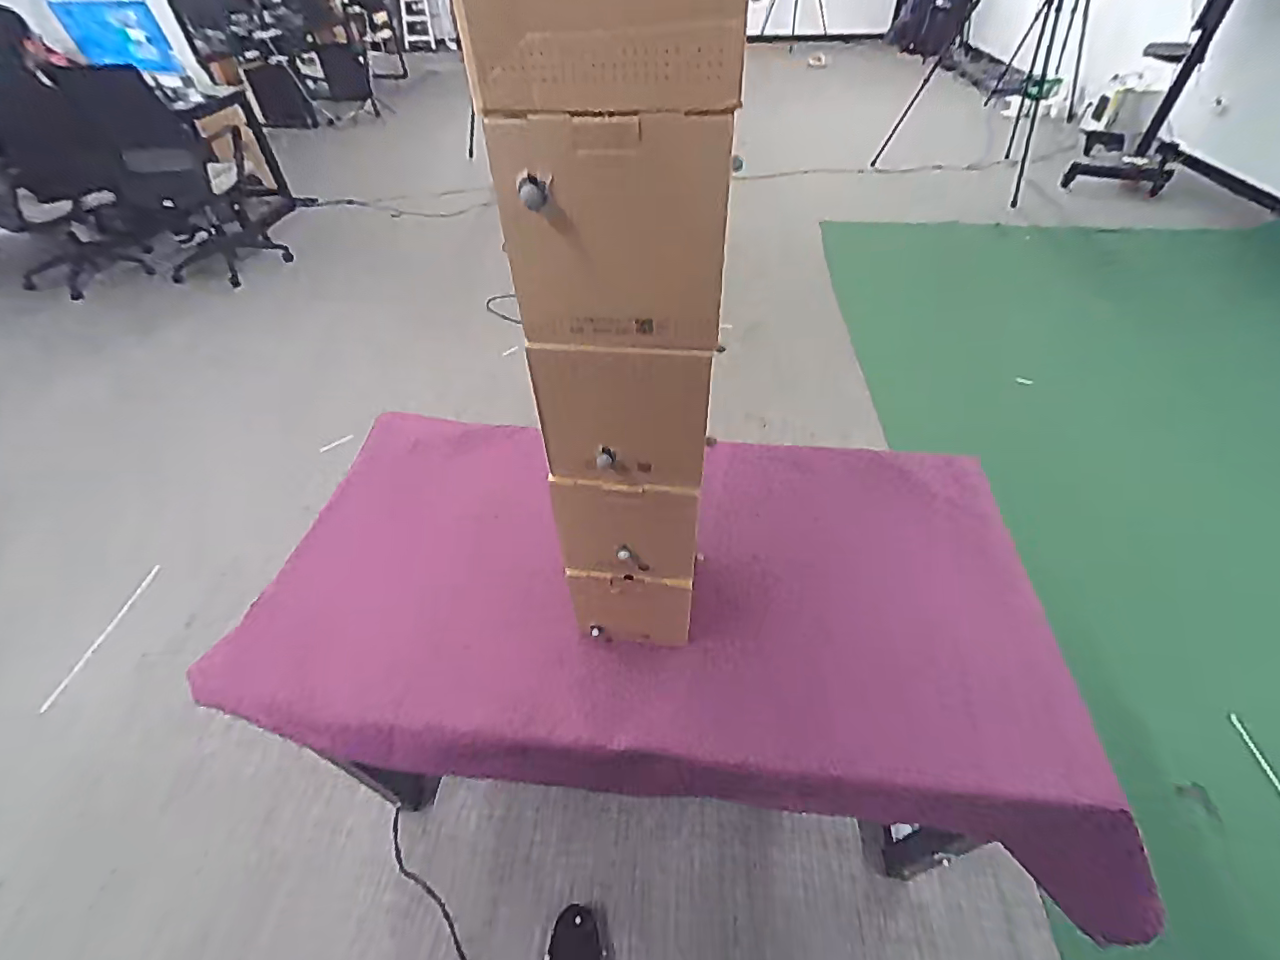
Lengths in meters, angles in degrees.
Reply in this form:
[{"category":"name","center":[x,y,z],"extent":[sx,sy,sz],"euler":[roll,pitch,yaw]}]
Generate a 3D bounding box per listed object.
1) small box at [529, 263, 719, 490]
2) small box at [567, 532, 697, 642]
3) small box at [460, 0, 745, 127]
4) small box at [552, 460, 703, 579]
[{"category":"small box","center":[-0.007,-0.113,0.585],"extent":[0.168,0.176,0.179],"euler":[4,46,6]},{"category":"small box","center":[-0.001,0.123,0.811],"extent":[0.168,0.176,0.179],"euler":[5,46,6]},{"category":"small box","center":[-0.018,-0.346,0.357],"extent":[0.179,0.176,0.168],"euler":[4,45,6]},{"category":"small box","center":[-0.005,0.003,0.698],"extent":[0.168,0.176,0.179],"euler":[4,47,6]}]
